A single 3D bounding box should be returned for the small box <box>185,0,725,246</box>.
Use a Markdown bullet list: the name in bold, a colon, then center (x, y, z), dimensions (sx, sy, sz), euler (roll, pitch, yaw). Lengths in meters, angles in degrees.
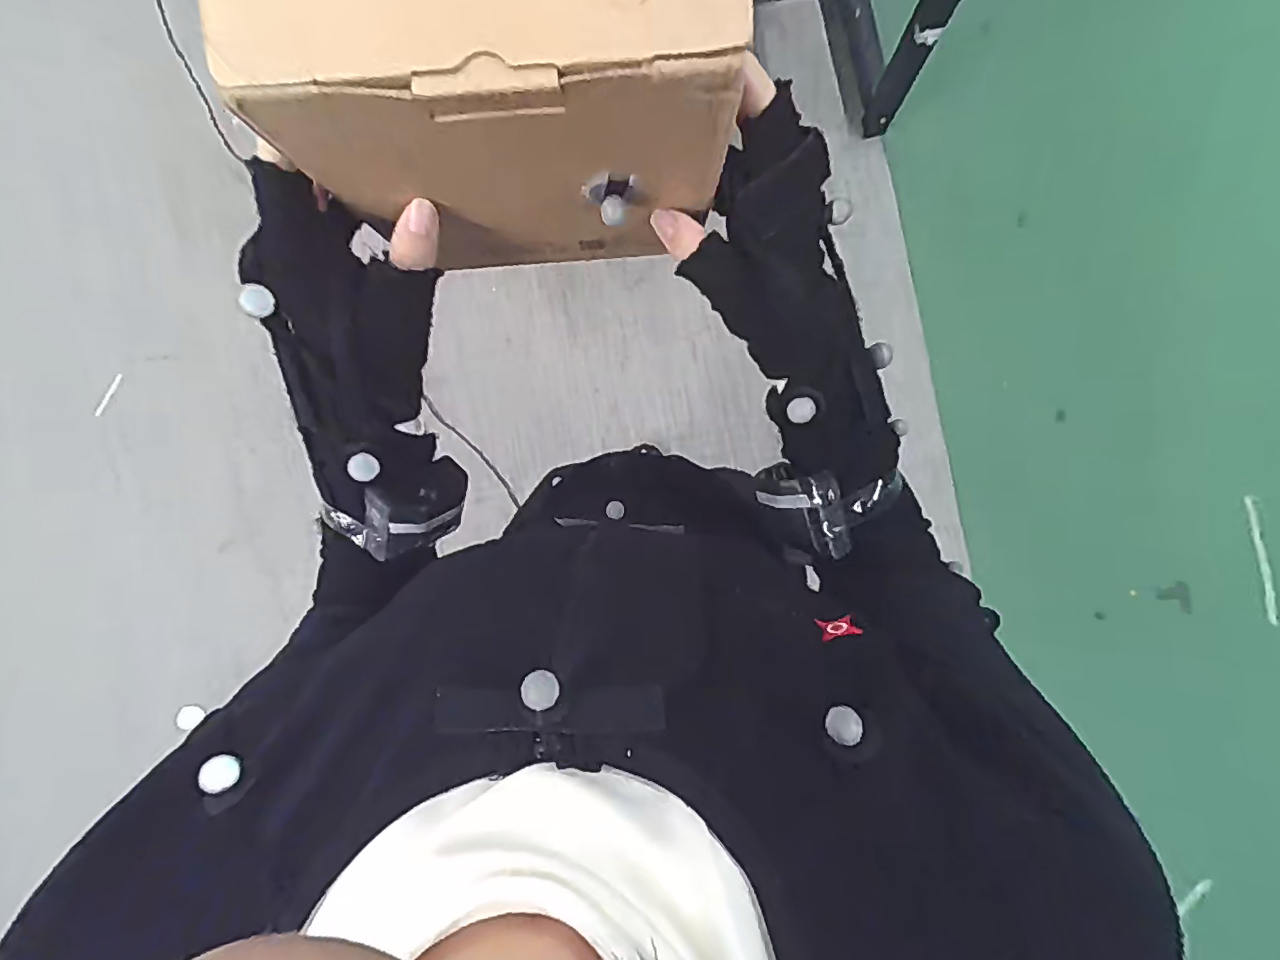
- **small box**: center (-0.058, -0.217, 0.238), dimensions (0.168, 0.176, 0.179), euler (-3, 93, -1)
